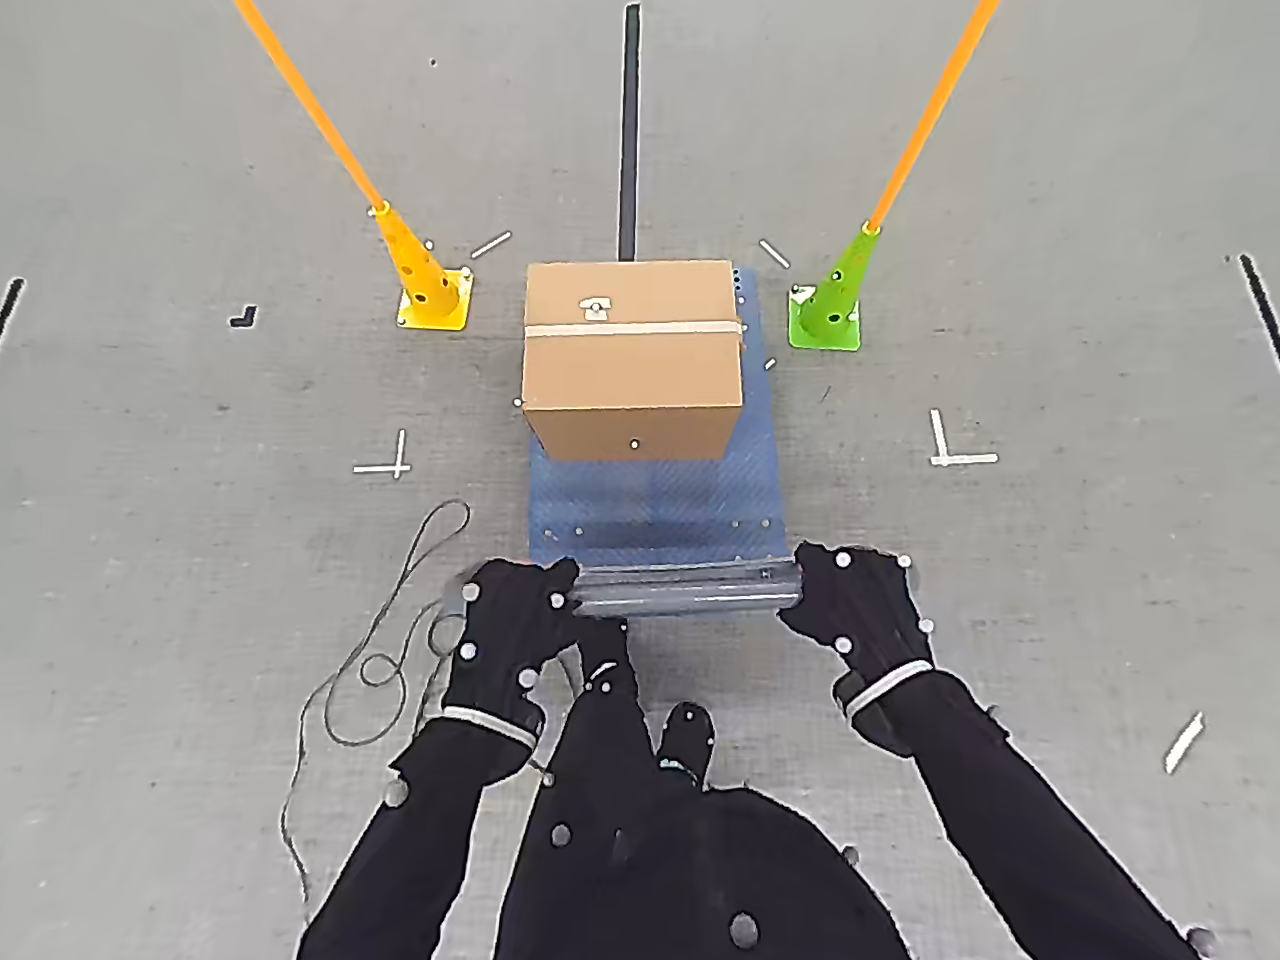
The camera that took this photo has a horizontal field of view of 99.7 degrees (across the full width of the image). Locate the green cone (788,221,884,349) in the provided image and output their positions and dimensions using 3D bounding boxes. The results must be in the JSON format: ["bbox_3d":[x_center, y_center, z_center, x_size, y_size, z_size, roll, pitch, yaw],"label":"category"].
[{"bbox_3d":[0.527,-0.518,1.395,0.202,0.368,0.200,4,74,1],"label":"green cone"}]

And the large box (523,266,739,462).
[{"bbox_3d":[-0.014,-0.229,1.171,0.408,0.320,0.320,-1,74,1],"label":"large box"}]
